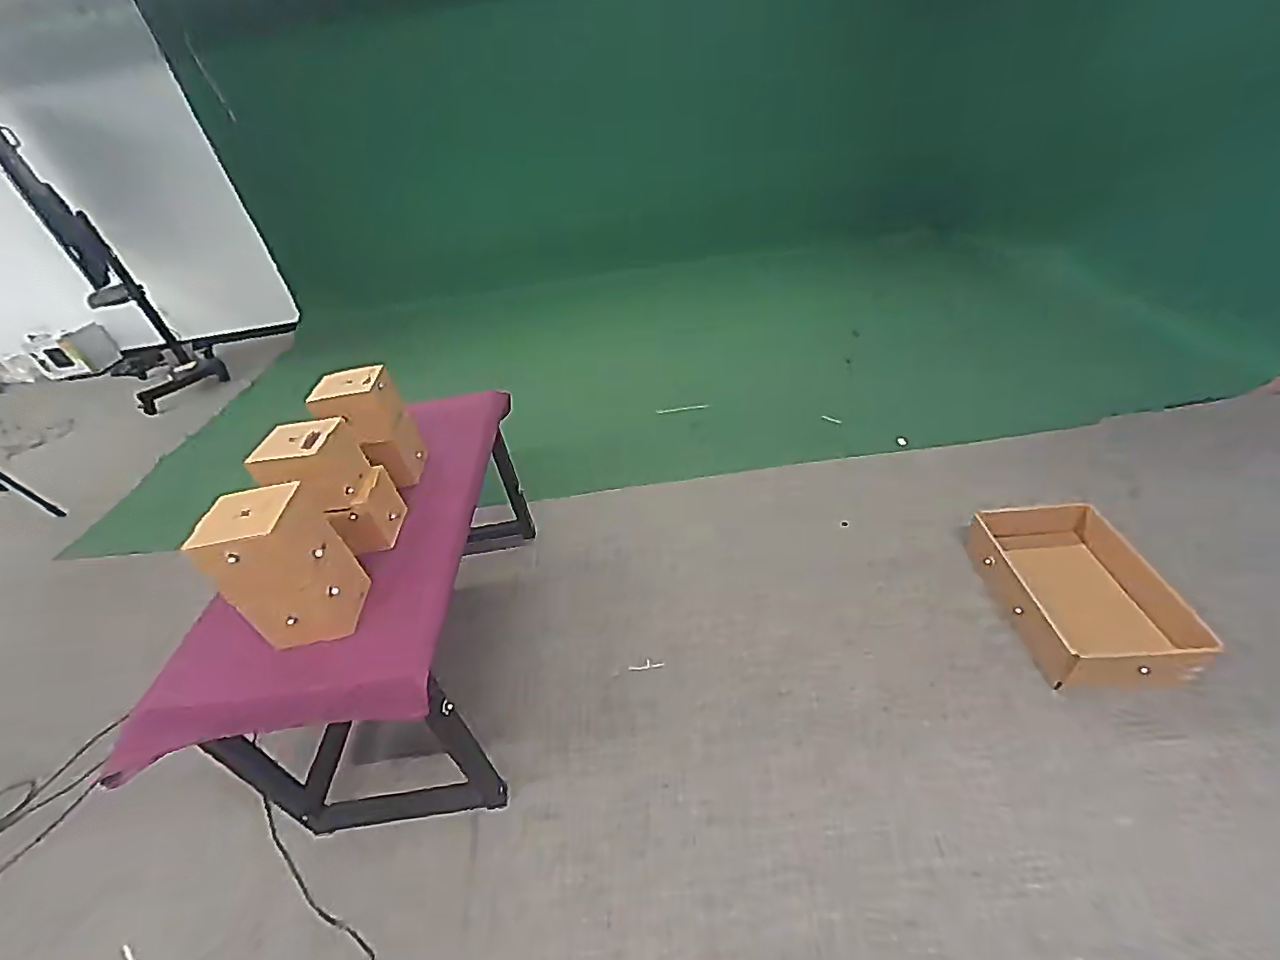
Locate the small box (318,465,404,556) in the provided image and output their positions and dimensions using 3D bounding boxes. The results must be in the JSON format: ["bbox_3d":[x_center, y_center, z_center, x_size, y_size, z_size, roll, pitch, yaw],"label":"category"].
[{"bbox_3d":[-0.764,0.085,1.443,0.179,0.176,0.168,-9,38,0],"label":"small box"}]

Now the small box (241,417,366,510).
[{"bbox_3d":[-0.815,-0.035,1.337,0.179,0.176,0.168,-7,38,3],"label":"small box"}]

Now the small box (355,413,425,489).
[{"bbox_3d":[-0.785,-0.079,1.650,0.179,0.176,0.168,-10,39,-1],"label":"small box"}]

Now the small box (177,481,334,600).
[{"bbox_3d":[-0.780,0.128,1.121,0.179,0.176,0.168,-10,38,-1],"label":"small box"}]

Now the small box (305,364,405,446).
[{"bbox_3d":[-0.808,-0.207,1.550,0.179,0.176,0.168,-11,39,-1],"label":"small box"}]
